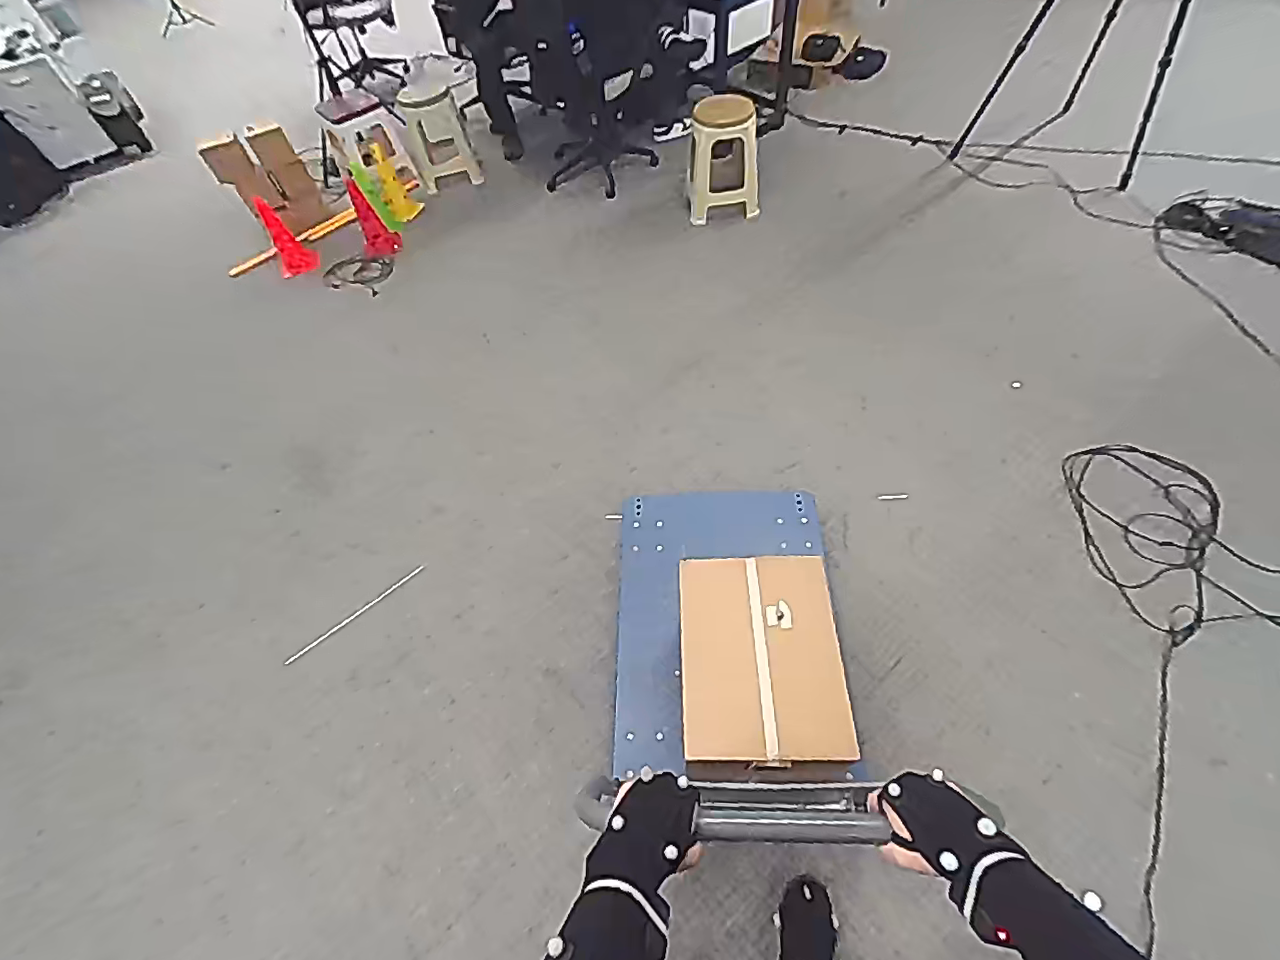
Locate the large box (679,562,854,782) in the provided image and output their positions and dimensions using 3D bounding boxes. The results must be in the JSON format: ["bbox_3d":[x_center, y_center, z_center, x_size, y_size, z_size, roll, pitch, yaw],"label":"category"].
[{"bbox_3d":[0.253,0.438,1.221,0.320,0.320,0.408,-1,54,4],"label":"large box"}]
